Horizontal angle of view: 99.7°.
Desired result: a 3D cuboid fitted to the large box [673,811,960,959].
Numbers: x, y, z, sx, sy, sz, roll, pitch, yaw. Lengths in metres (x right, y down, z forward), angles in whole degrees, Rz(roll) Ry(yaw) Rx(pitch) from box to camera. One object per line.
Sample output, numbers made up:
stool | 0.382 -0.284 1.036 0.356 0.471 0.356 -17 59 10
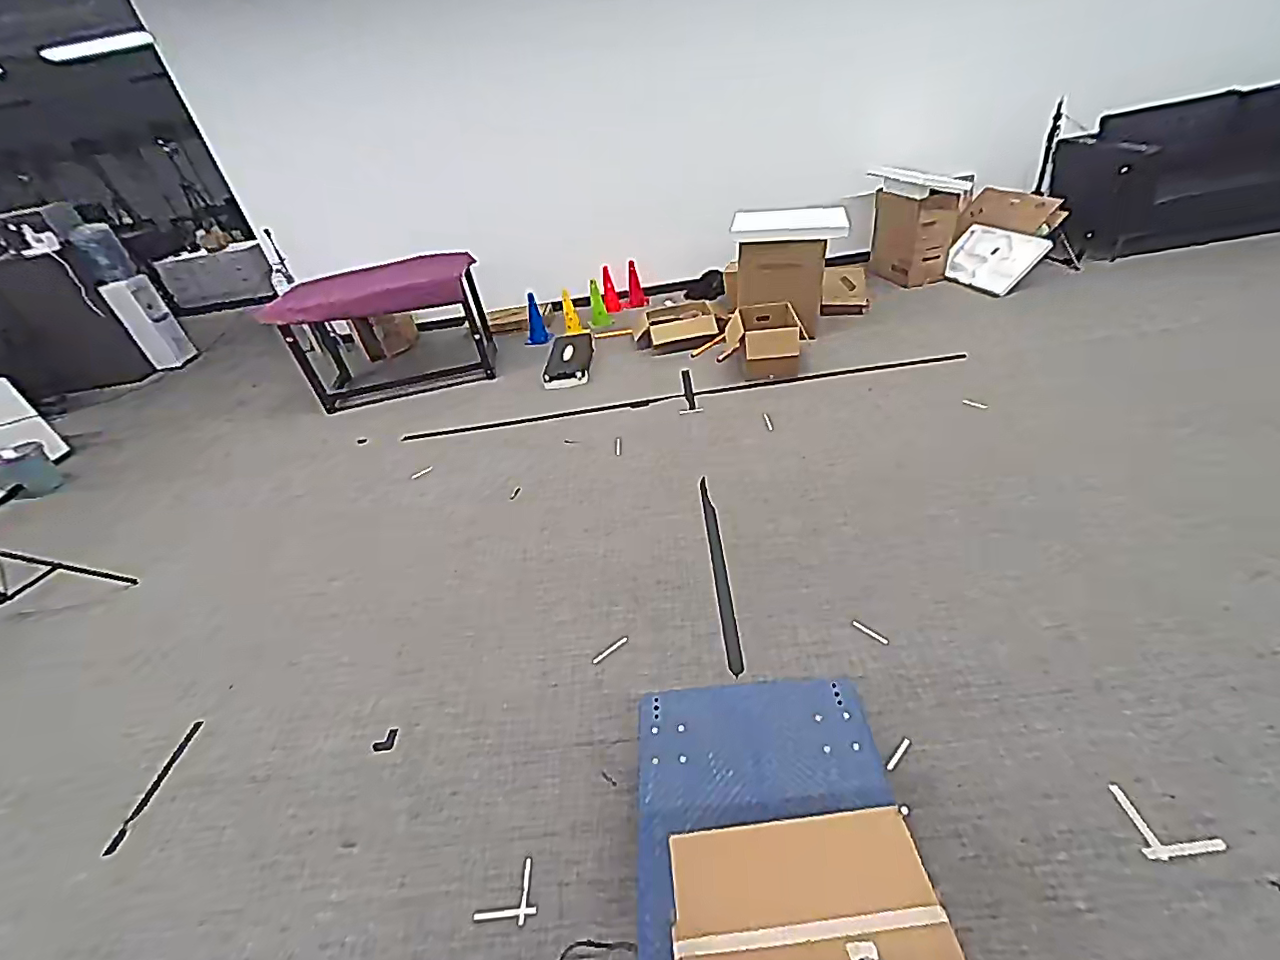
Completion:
large box | 0.282 0.815 0.906 0.408 0.320 0.320 -8 36 1
